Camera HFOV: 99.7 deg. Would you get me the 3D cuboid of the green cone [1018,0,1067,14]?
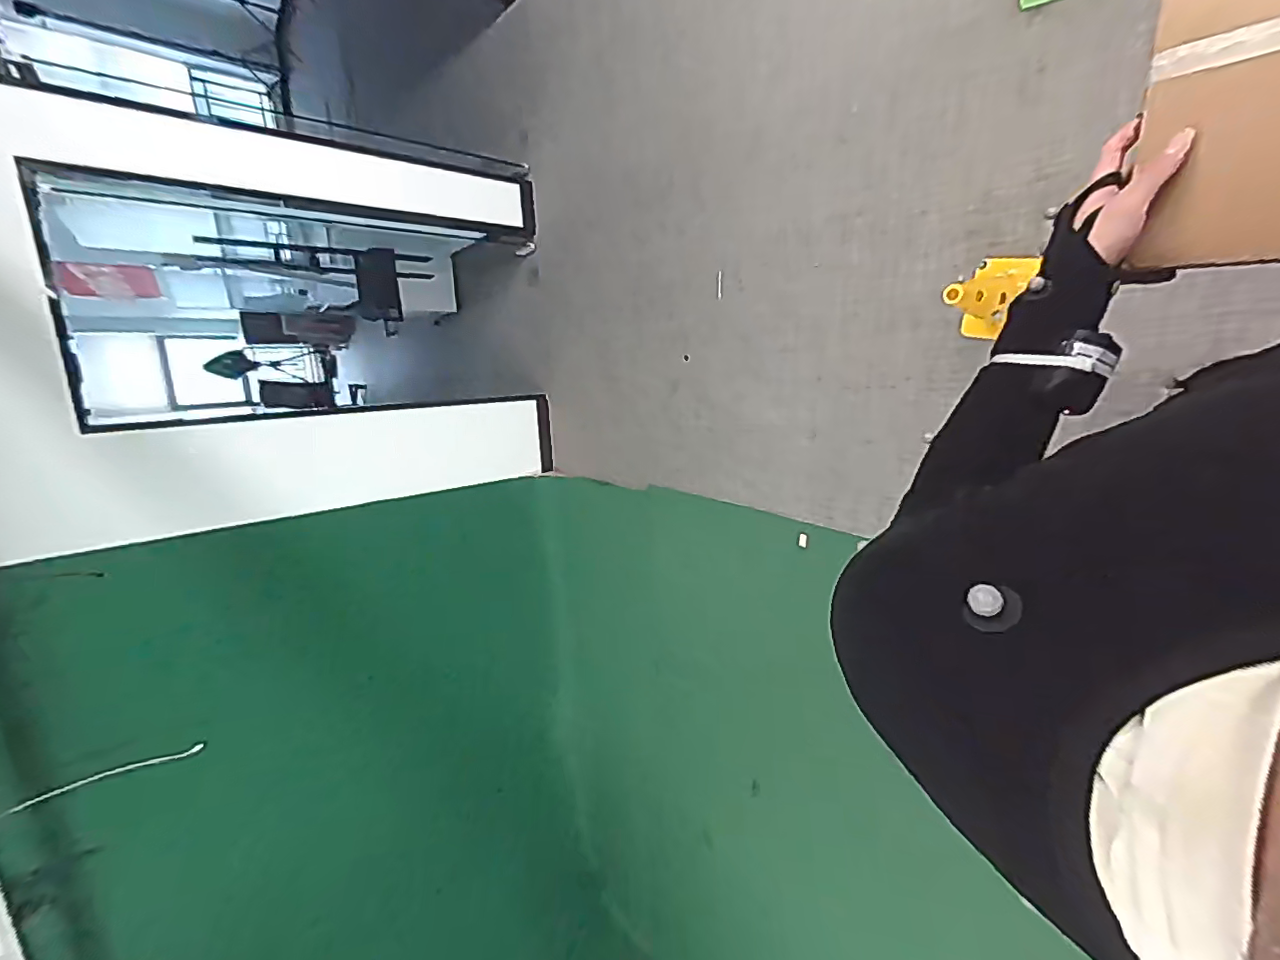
[{"bbox_3d":[0.832,-1.150,1.089,0.200,0.368,0.202,21,116,48],"label":"green cone"}]
